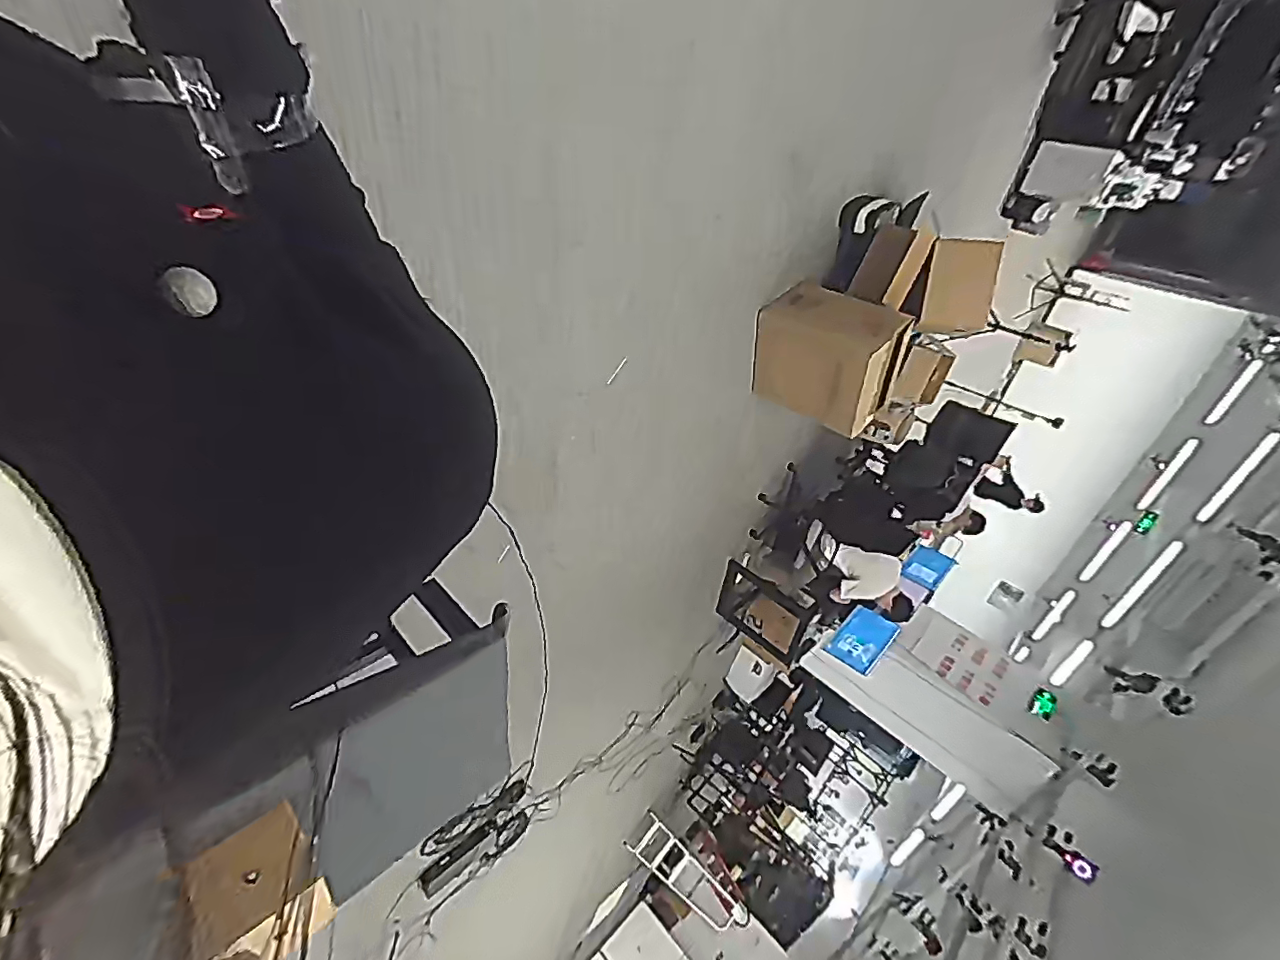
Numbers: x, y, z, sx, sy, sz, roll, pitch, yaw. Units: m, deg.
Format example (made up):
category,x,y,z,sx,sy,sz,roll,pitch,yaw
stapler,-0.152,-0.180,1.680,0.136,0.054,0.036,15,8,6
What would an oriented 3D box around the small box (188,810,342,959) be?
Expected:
category,x,y,z,sx,sy,sz,roll,pitch,yaw
small box,-0.647,0.727,0.935,0.179,0.176,0.168,-21,136,-41
